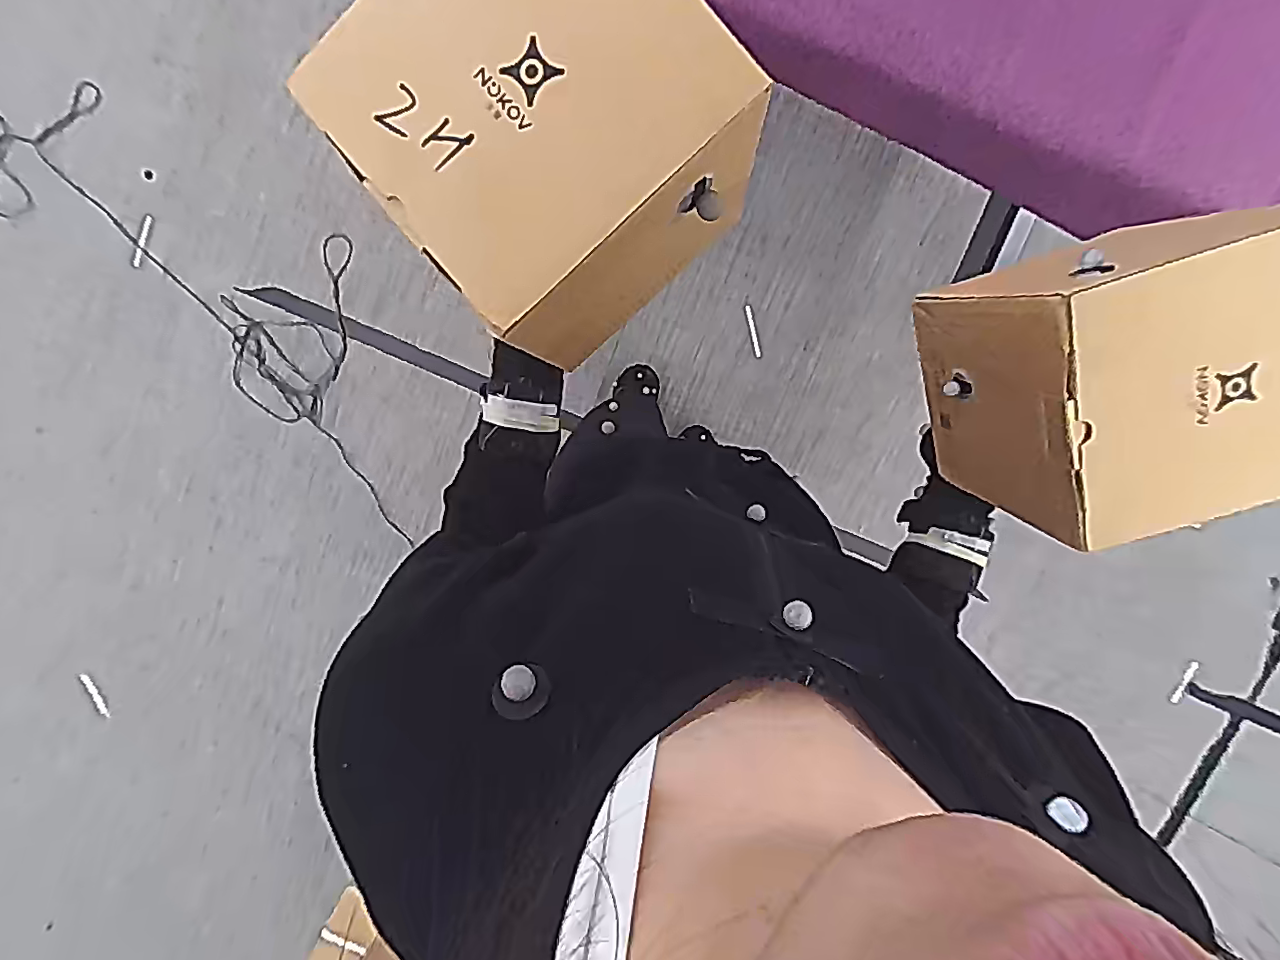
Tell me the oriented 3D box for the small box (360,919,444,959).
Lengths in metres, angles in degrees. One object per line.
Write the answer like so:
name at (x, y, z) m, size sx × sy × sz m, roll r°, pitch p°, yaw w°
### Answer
small box at (-0.600, 1.212, 1.291) m, size 0.179 × 0.176 × 0.168 m, roll 30°, pitch 97°, yaw -3°

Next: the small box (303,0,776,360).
small box at (-0.046, -0.199, 0.339) m, size 0.179 × 0.176 × 0.168 m, roll -41°, pitch 91°, yaw 7°

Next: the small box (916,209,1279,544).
small box at (0.336, -0.082, 0.392) m, size 0.179 × 0.176 × 0.168 m, roll -18°, pitch 108°, yaw 5°
